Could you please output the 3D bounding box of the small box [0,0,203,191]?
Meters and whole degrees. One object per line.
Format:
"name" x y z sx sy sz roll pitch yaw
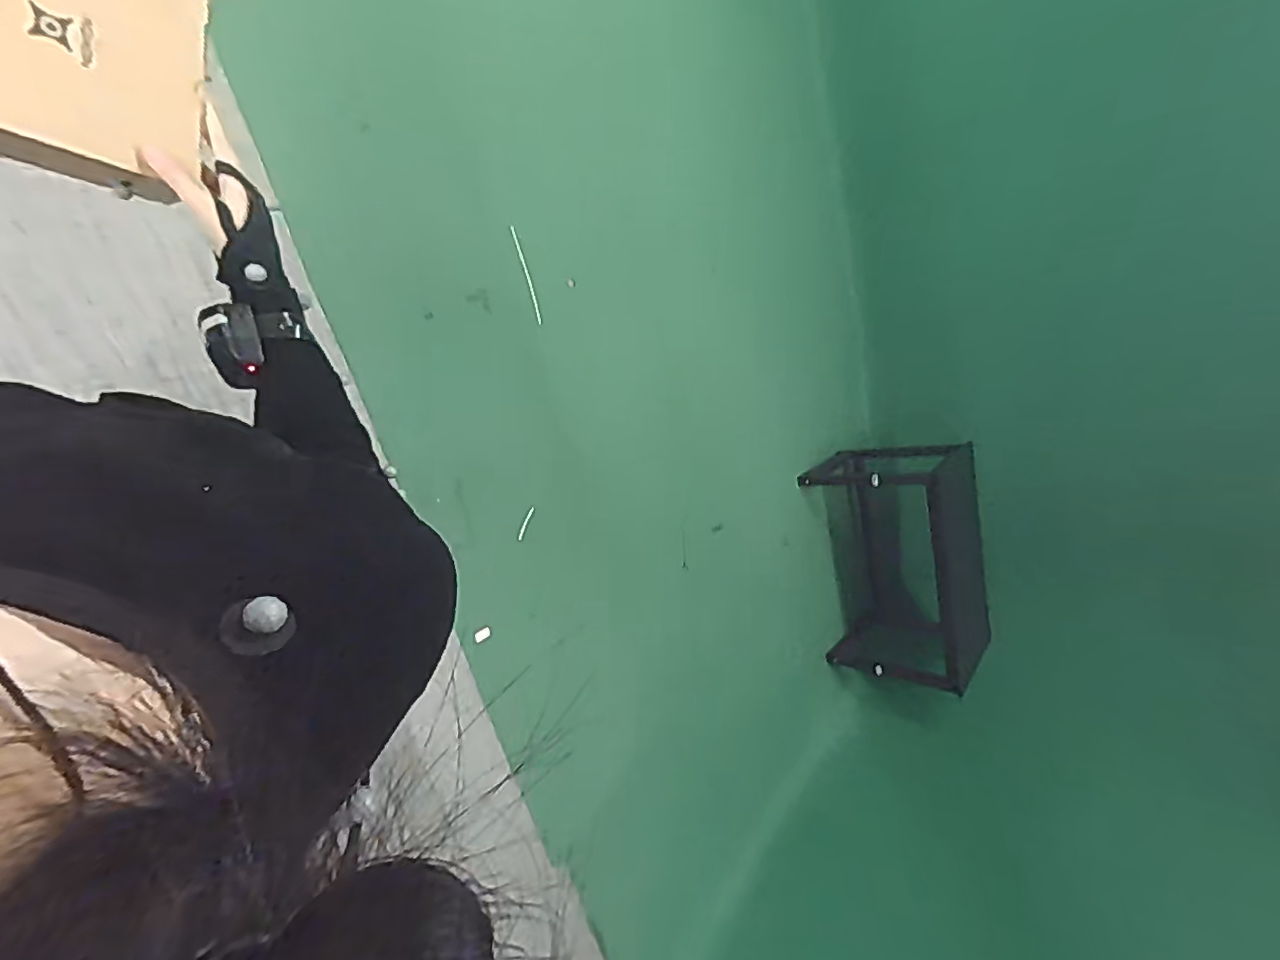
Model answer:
"small box" -0.486 -0.354 0.438 0.179 0.176 0.168 1 103 -48
